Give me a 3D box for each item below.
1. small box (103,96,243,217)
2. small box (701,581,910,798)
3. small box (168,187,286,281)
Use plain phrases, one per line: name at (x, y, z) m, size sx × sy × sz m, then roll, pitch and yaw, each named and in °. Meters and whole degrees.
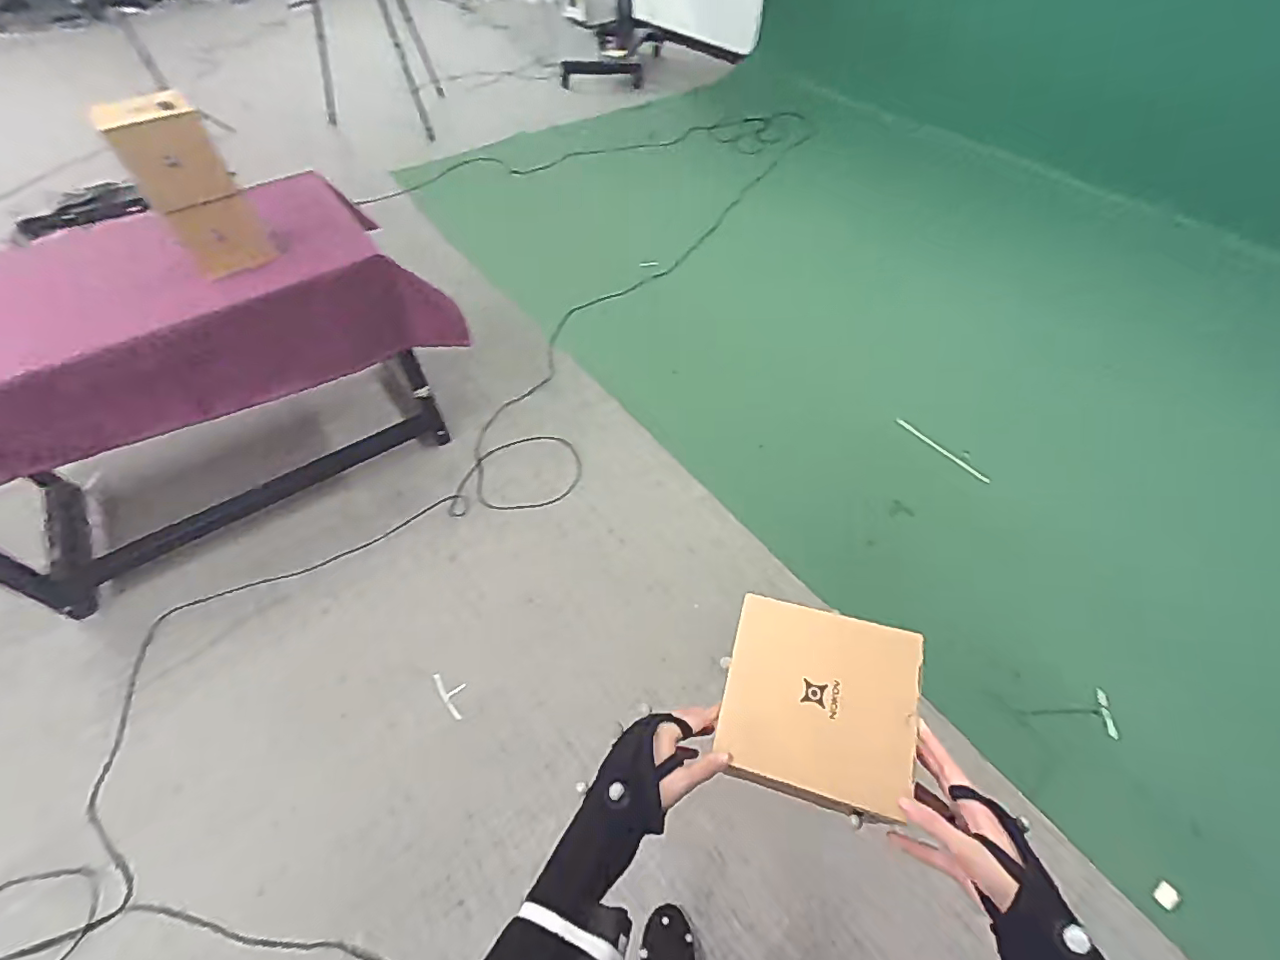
small box at (-1.033, -0.724, 1.212) m, size 0.179 × 0.176 × 0.168 m, roll -32°, pitch 58°, yaw -21°
small box at (0.173, 0.230, 0.584) m, size 0.179 × 0.176 × 0.168 m, roll 10°, pitch 62°, yaw 15°
small box at (-1.031, -0.625, 1.344) m, size 0.179 × 0.176 × 0.168 m, roll -33°, pitch 59°, yaw -21°
